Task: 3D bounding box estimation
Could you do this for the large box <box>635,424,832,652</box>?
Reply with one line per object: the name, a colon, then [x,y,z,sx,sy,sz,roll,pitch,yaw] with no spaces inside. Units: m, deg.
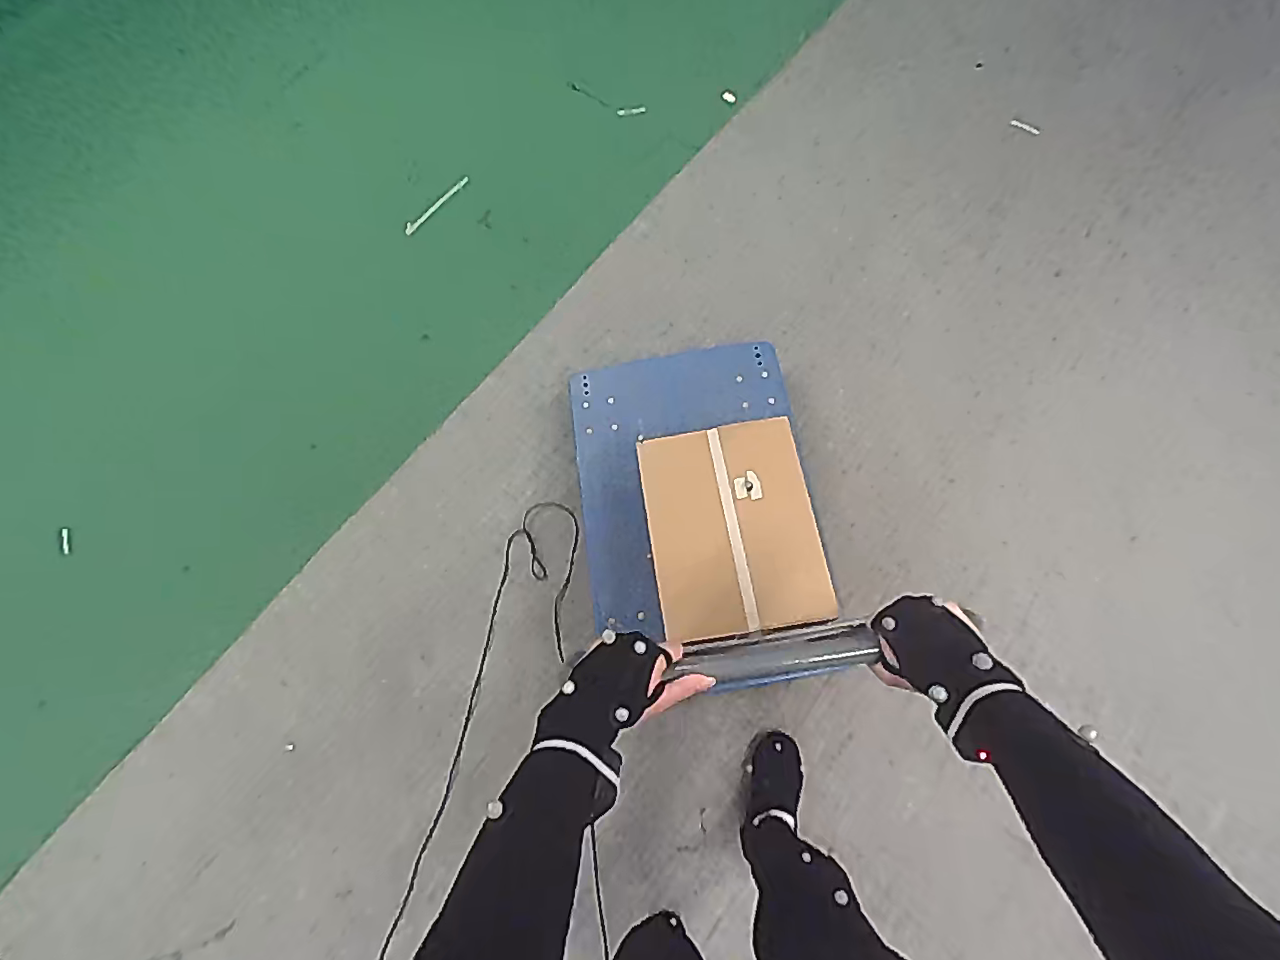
large box: [0.184,0.143,1.188,0.320,0.320,0.408,-9,69,2]
